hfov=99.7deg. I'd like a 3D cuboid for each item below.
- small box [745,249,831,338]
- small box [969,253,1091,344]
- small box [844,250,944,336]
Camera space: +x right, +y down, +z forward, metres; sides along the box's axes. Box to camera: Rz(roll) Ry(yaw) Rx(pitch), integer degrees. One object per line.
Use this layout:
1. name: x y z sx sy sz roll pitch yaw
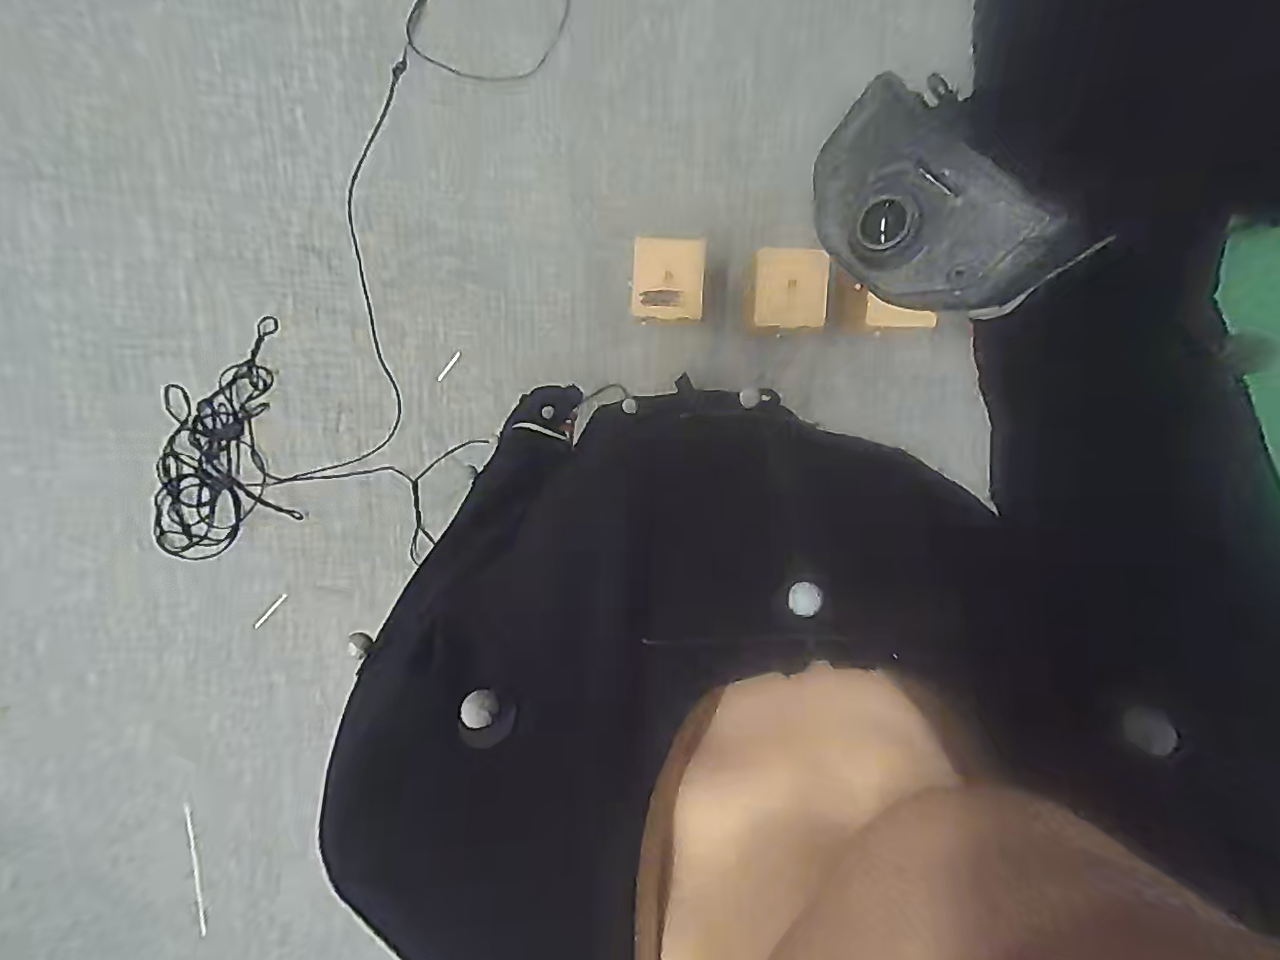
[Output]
1. small box: 0.354 -0.449 1.321 0.168 0.176 0.179 2 98 2
2. small box: 0.935 -0.434 1.314 0.168 0.176 0.179 5 99 1
3. small box: 0.609 -0.448 1.320 0.168 0.176 0.179 1 97 1
